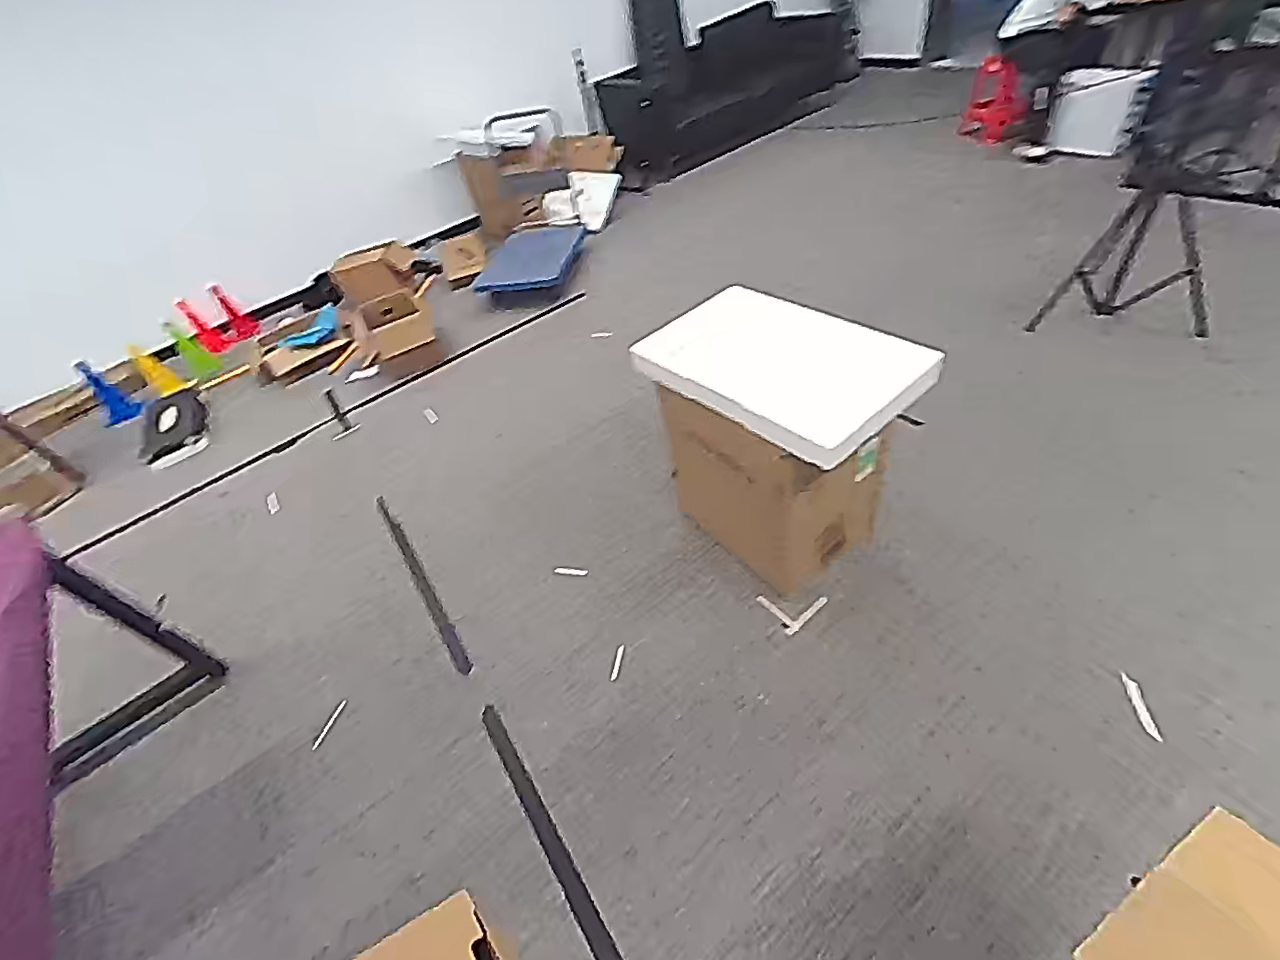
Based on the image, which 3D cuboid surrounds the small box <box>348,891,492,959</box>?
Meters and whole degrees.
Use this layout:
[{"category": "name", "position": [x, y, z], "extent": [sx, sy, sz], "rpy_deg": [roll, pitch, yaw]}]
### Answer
[{"category": "small box", "position": [-0.234, 0.596, 0.553], "extent": [0.179, 0.176, 0.168], "rpy_deg": [-11, 27, -38]}]
